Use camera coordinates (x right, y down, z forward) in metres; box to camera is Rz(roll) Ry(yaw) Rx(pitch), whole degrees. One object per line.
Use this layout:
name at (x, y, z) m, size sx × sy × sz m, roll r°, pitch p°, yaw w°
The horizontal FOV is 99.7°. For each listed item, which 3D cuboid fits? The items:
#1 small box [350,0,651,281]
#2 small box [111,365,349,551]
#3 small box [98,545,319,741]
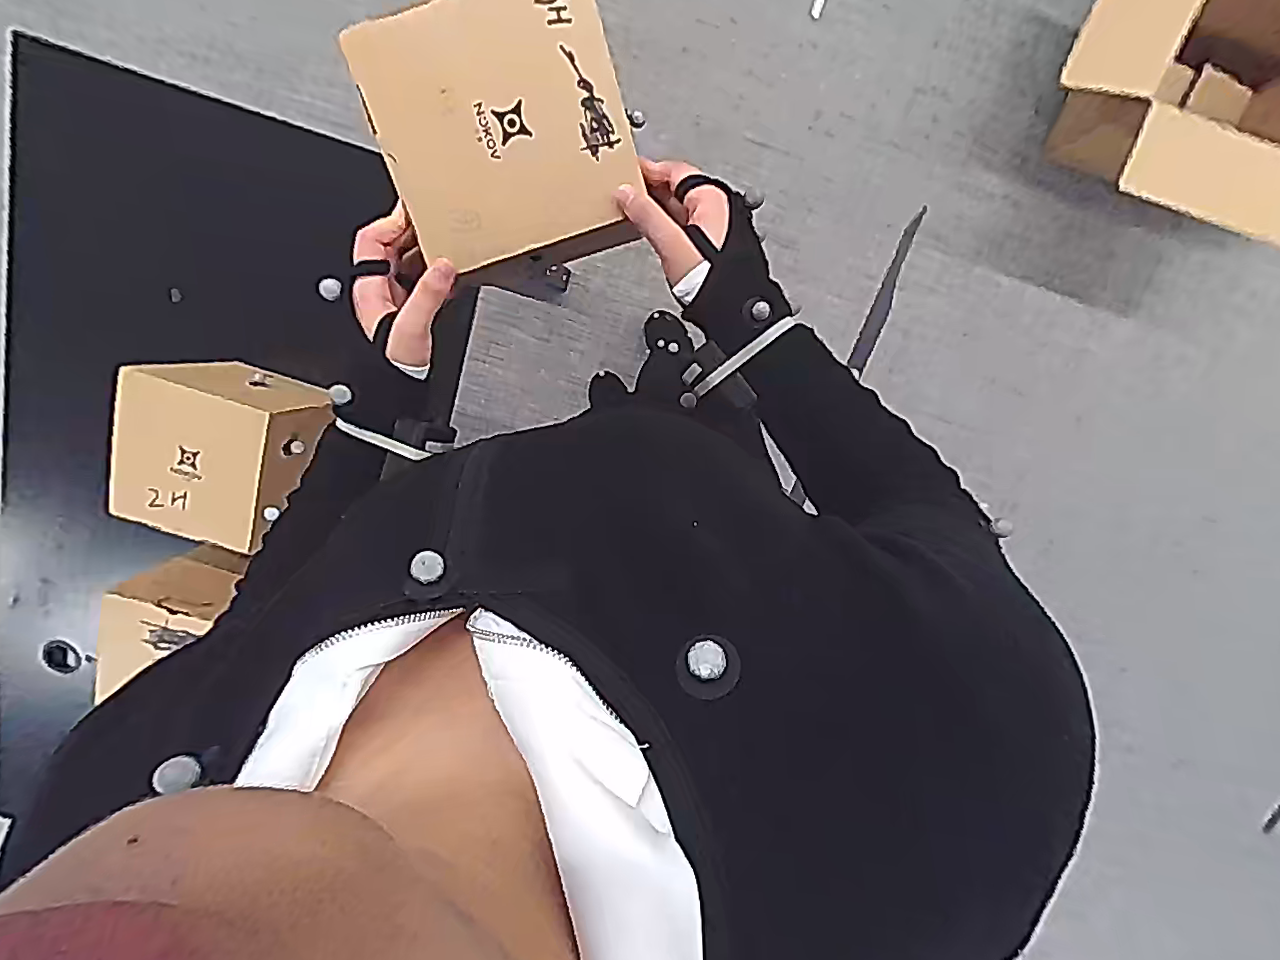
small box at (-0.093, -0.273, 0.456) m, size 0.179 × 0.176 × 0.168 m, roll -15°, pitch 108°, yaw 6°
small box at (-0.498, -0.039, 0.680) m, size 0.168 × 0.176 × 0.179 m, roll 17°, pitch 104°, yaw -1°
small box at (-0.579, 0.211, 0.745) m, size 0.168 × 0.176 × 0.179 m, roll 18°, pitch 105°, yaw -2°
